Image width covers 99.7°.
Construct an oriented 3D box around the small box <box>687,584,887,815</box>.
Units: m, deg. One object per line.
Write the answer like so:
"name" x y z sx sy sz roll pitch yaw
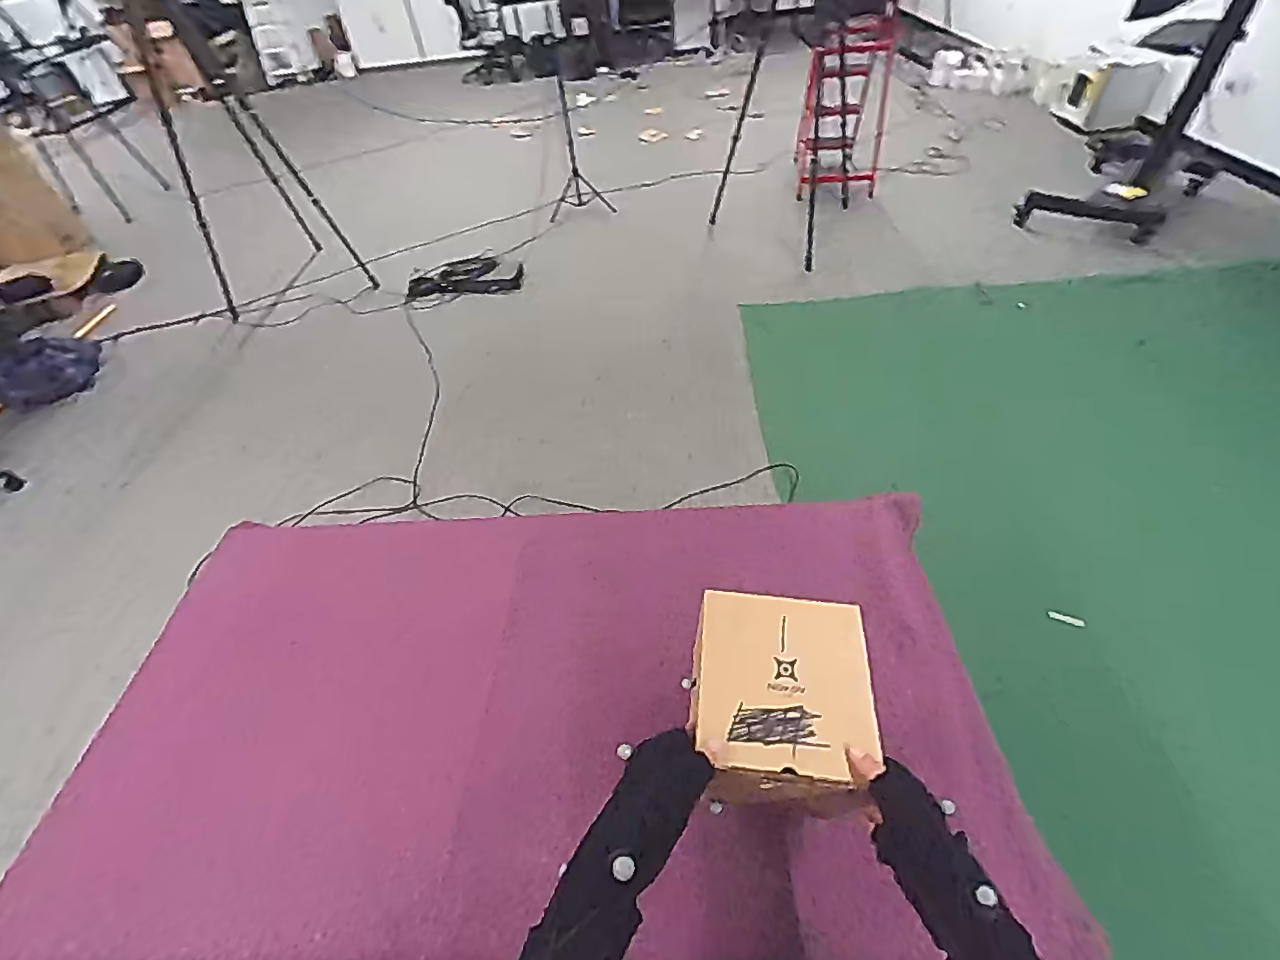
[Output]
"small box" 0.144 0.238 0.576 0.168 0.176 0.179 9 53 5
